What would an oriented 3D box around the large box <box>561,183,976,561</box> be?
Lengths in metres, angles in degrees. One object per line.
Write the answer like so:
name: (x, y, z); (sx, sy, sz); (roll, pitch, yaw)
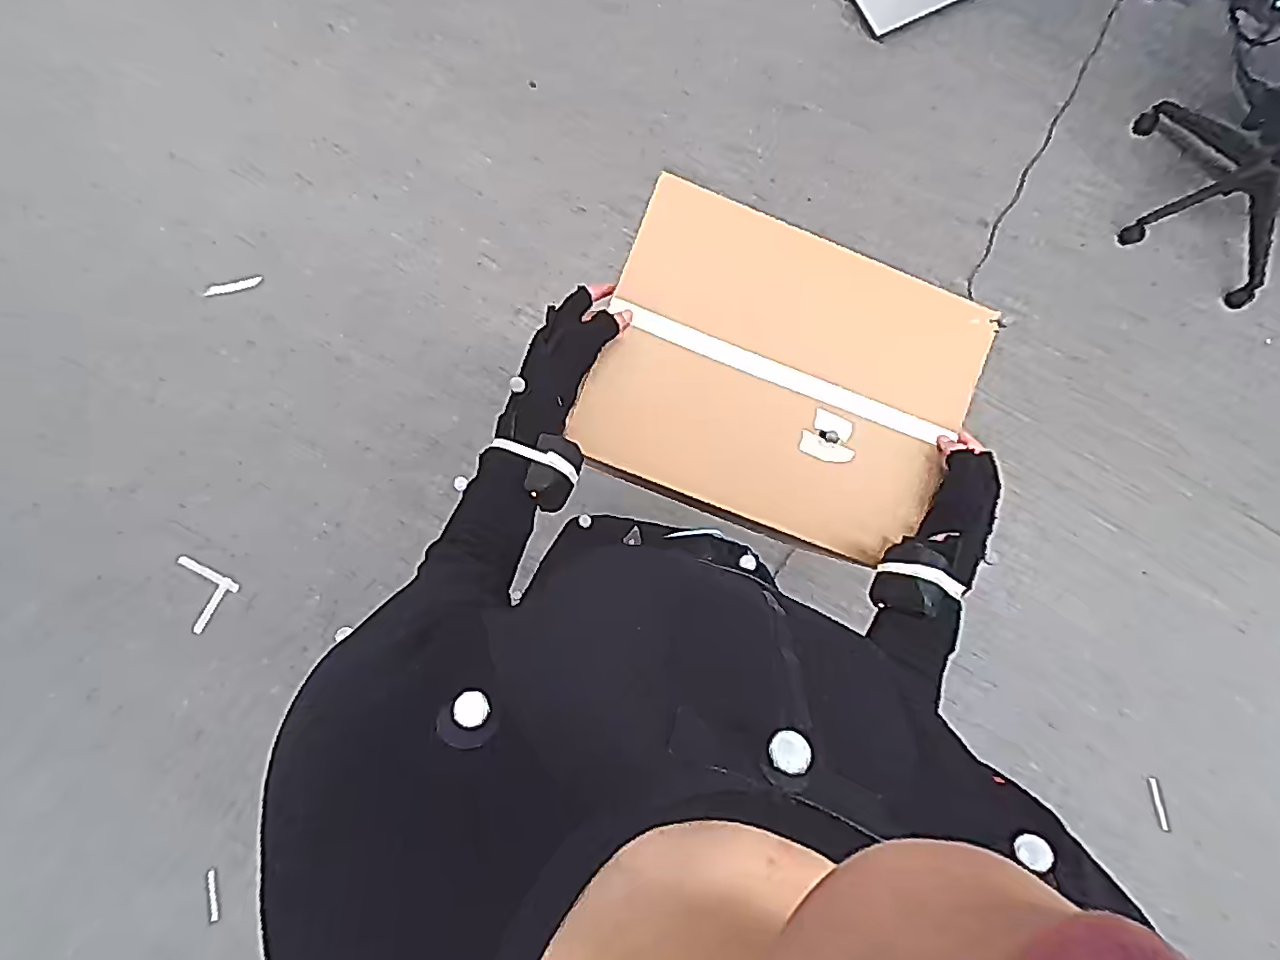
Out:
large box: (0.136, -0.117, 0.746); (0.408, 0.320, 0.320); (21, 89, -4)
